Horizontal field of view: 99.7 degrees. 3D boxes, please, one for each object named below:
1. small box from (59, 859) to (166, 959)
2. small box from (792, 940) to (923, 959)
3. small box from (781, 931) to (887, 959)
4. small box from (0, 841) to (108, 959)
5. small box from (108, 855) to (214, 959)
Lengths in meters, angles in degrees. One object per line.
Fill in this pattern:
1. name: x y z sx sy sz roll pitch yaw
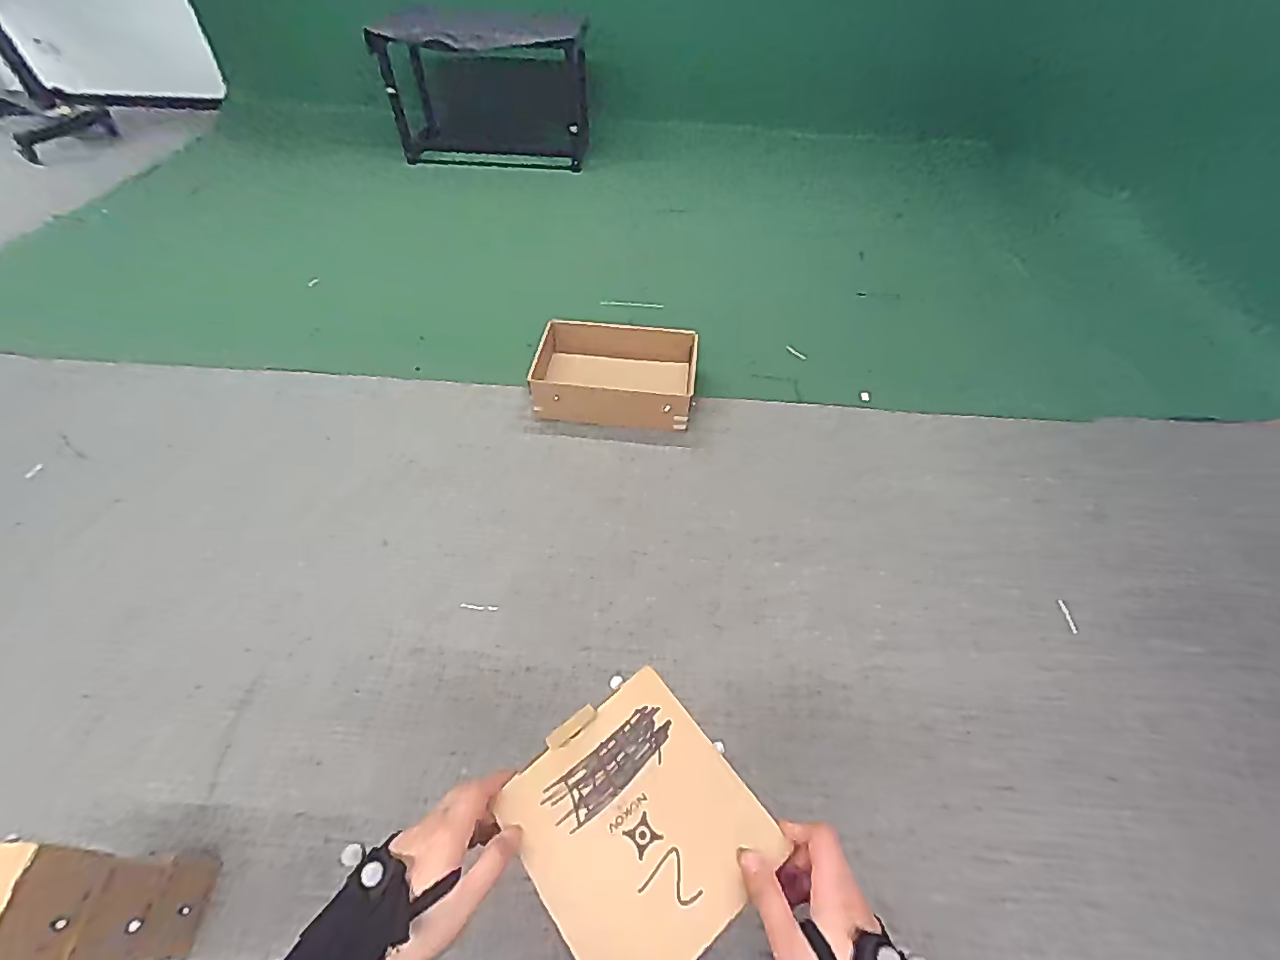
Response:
1. small box: -1.001 0.765 0.938 0.179 0.176 0.168 1 50 -1
2. small box: 0.362 0.872 0.888 0.179 0.176 0.168 4 49 3
3. small box: 0.369 0.974 1.016 0.168 0.176 0.179 5 50 3
4. small box: -0.993 0.655 0.817 0.179 0.176 0.168 1 50 -2
5. small box: -1.008 0.856 1.074 0.179 0.176 0.168 -2 49 -3
